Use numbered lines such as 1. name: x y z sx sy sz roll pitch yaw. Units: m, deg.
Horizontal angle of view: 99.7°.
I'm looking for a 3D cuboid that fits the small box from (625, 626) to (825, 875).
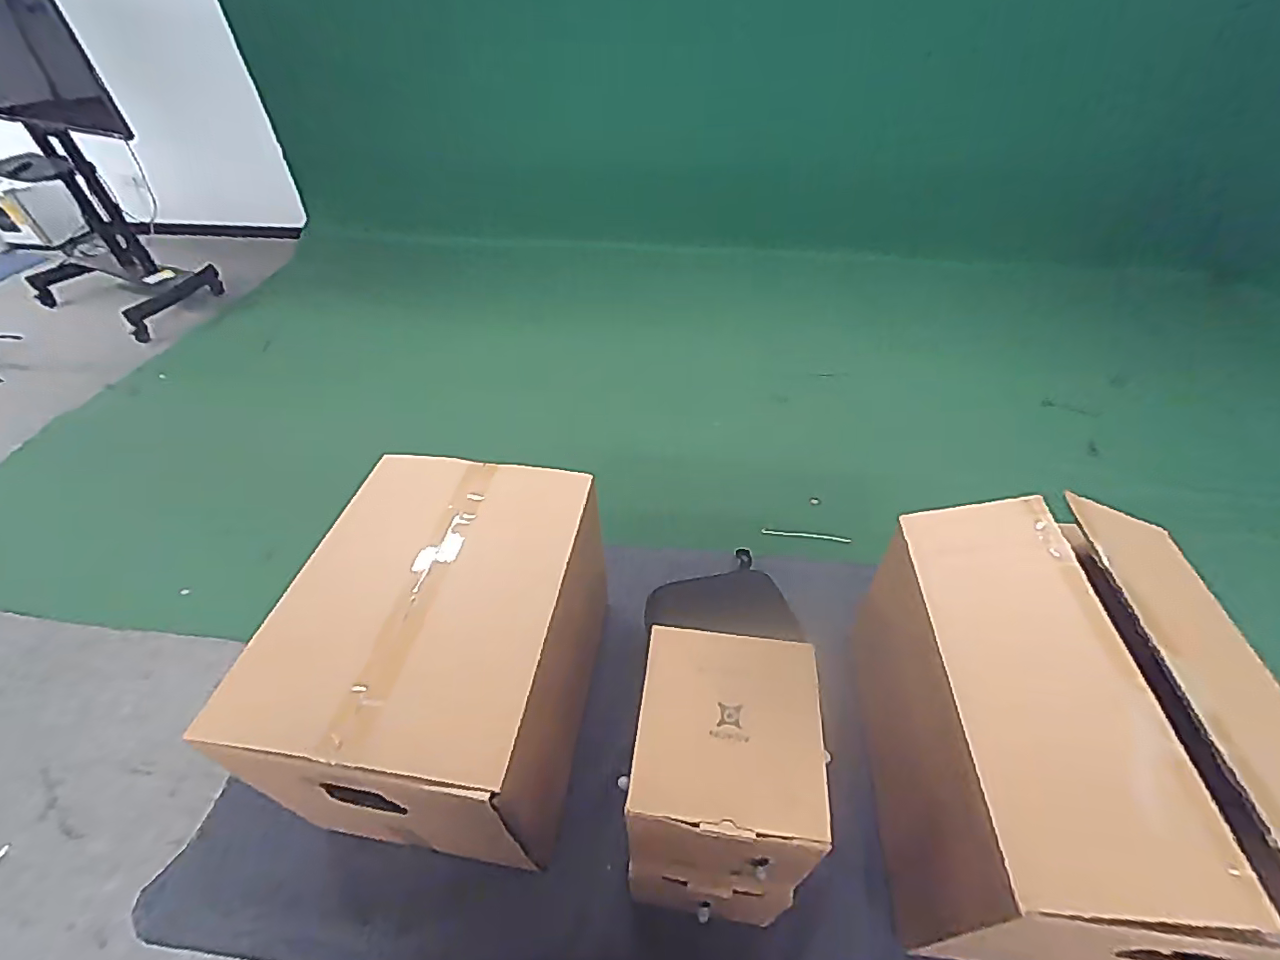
1. small box: 0.080 0.277 0.553 0.168 0.176 0.179 6 44 5
